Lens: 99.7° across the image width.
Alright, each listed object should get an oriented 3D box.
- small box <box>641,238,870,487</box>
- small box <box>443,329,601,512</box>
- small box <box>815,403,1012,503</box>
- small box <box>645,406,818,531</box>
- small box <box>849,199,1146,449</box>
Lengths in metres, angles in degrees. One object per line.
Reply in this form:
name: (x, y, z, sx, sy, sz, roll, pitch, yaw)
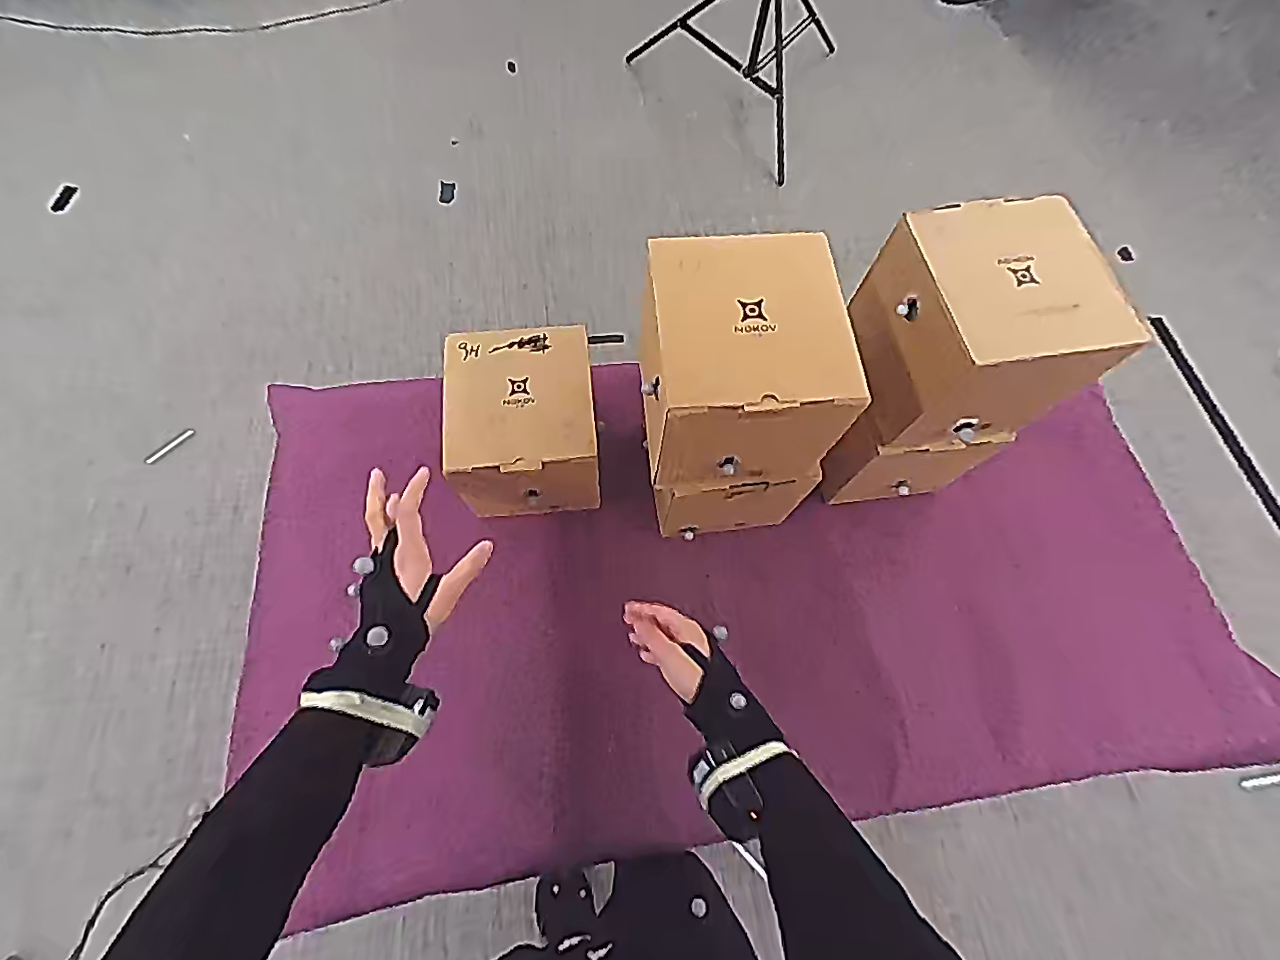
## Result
small box: (0.092, -0.107, 0.530, 0.168, 0.176, 0.179, -4, 69, -4)
small box: (-0.138, -0.064, 0.677, 0.168, 0.176, 0.179, -5, 70, -4)
small box: (0.326, -0.085, 0.708, 0.168, 0.176, 0.179, -7, 69, -4)
small box: (0.100, -0.041, 0.680, 0.168, 0.176, 0.179, -6, 68, -5)
small box: (0.337, -0.152, 0.560, 0.168, 0.176, 0.179, -9, 69, -5)
